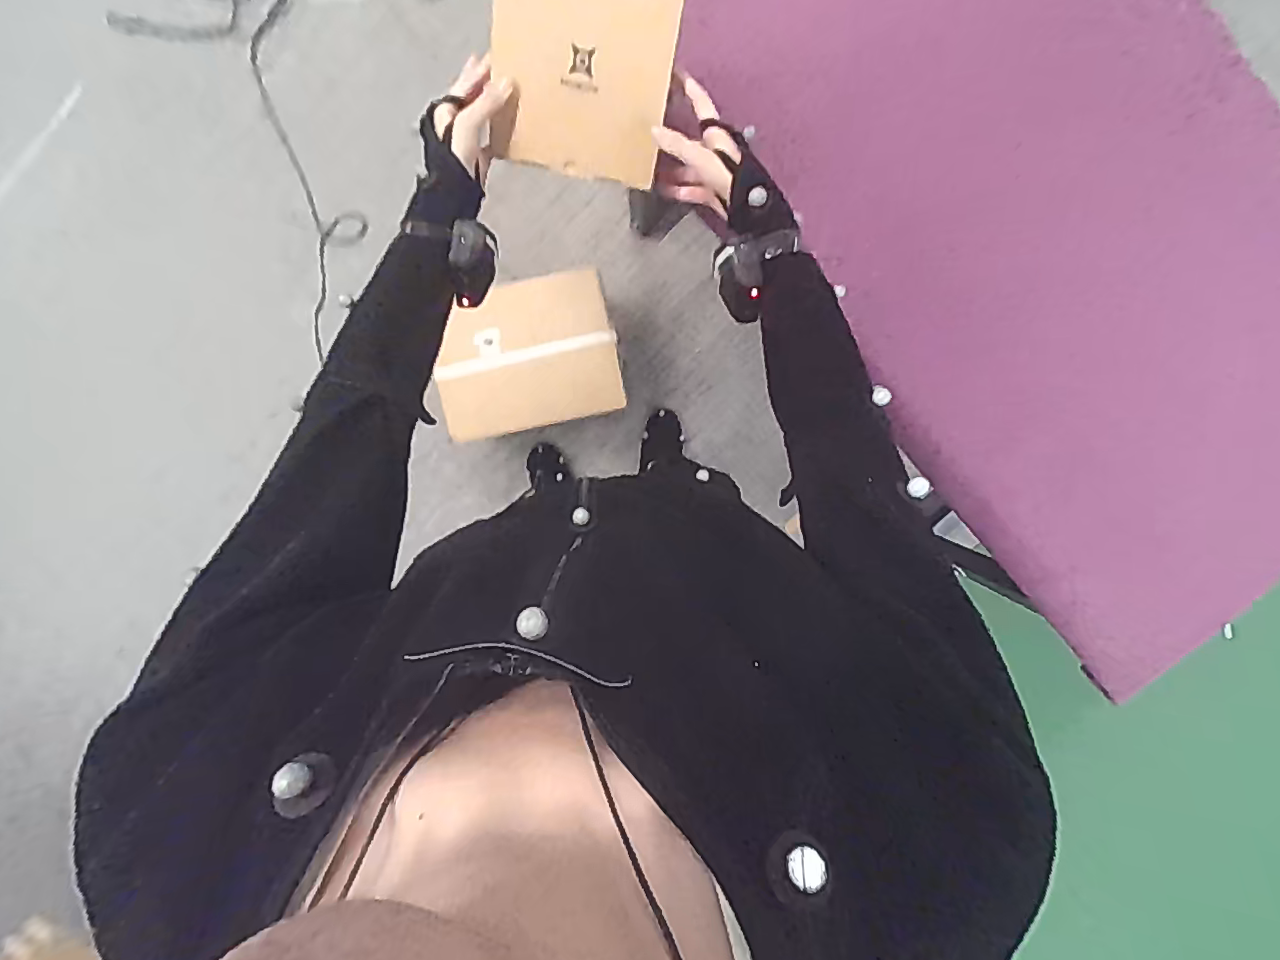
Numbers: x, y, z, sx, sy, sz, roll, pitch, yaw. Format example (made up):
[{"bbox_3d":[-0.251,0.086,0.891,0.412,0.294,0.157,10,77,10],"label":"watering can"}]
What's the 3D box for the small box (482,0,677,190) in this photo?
[{"bbox_3d":[-0.058,-0.419,0.551,0.168,0.176,0.179,8,126,-4],"label":"small box"}]
